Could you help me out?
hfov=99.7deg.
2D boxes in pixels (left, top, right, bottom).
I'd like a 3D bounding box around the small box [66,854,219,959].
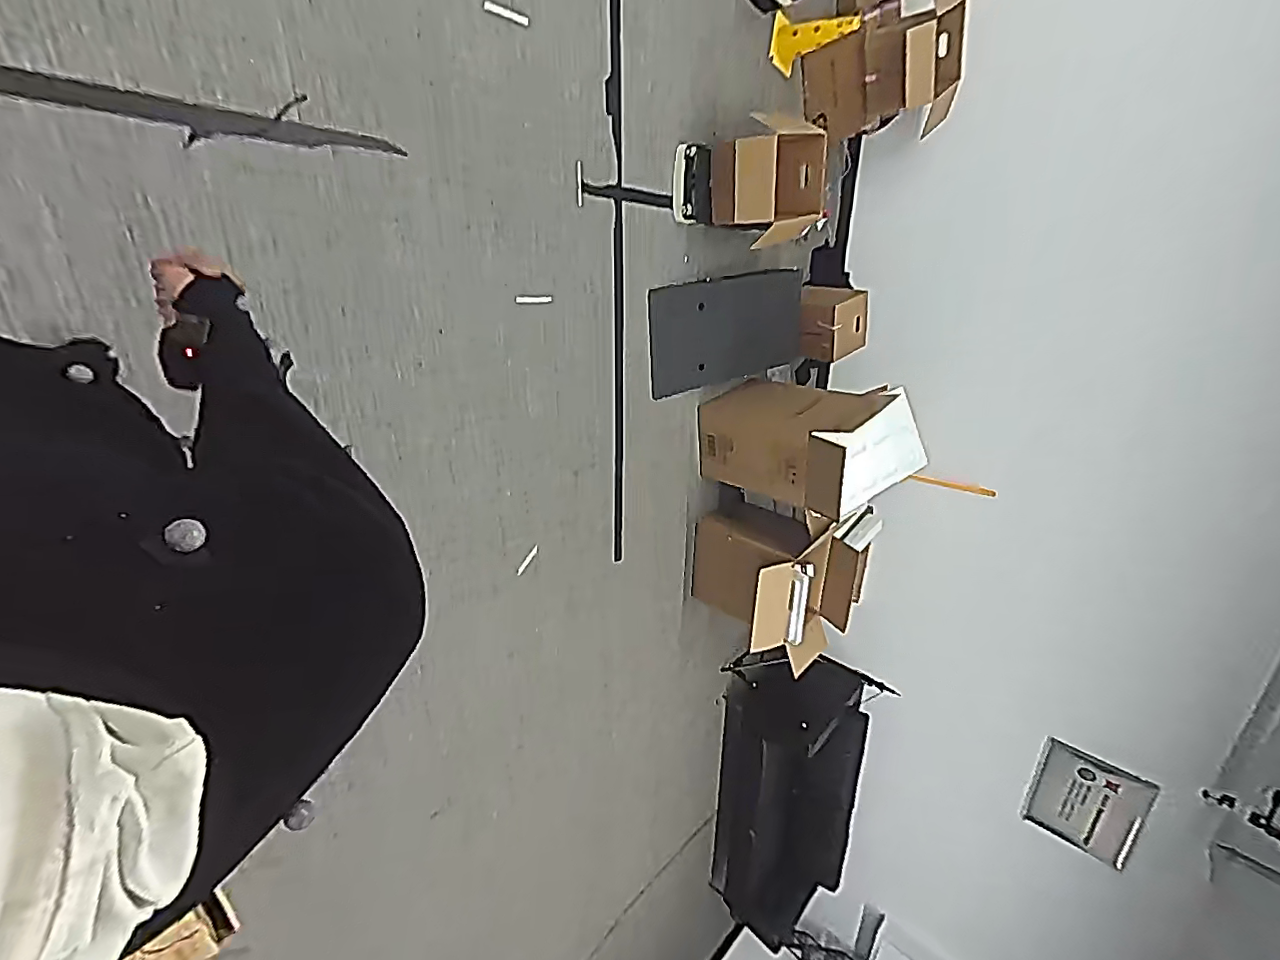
[{"bbox_3d":[-0.971,0.896,1.055,0.179,0.176,0.168,-27,125,-41],"label":"small box"}]
